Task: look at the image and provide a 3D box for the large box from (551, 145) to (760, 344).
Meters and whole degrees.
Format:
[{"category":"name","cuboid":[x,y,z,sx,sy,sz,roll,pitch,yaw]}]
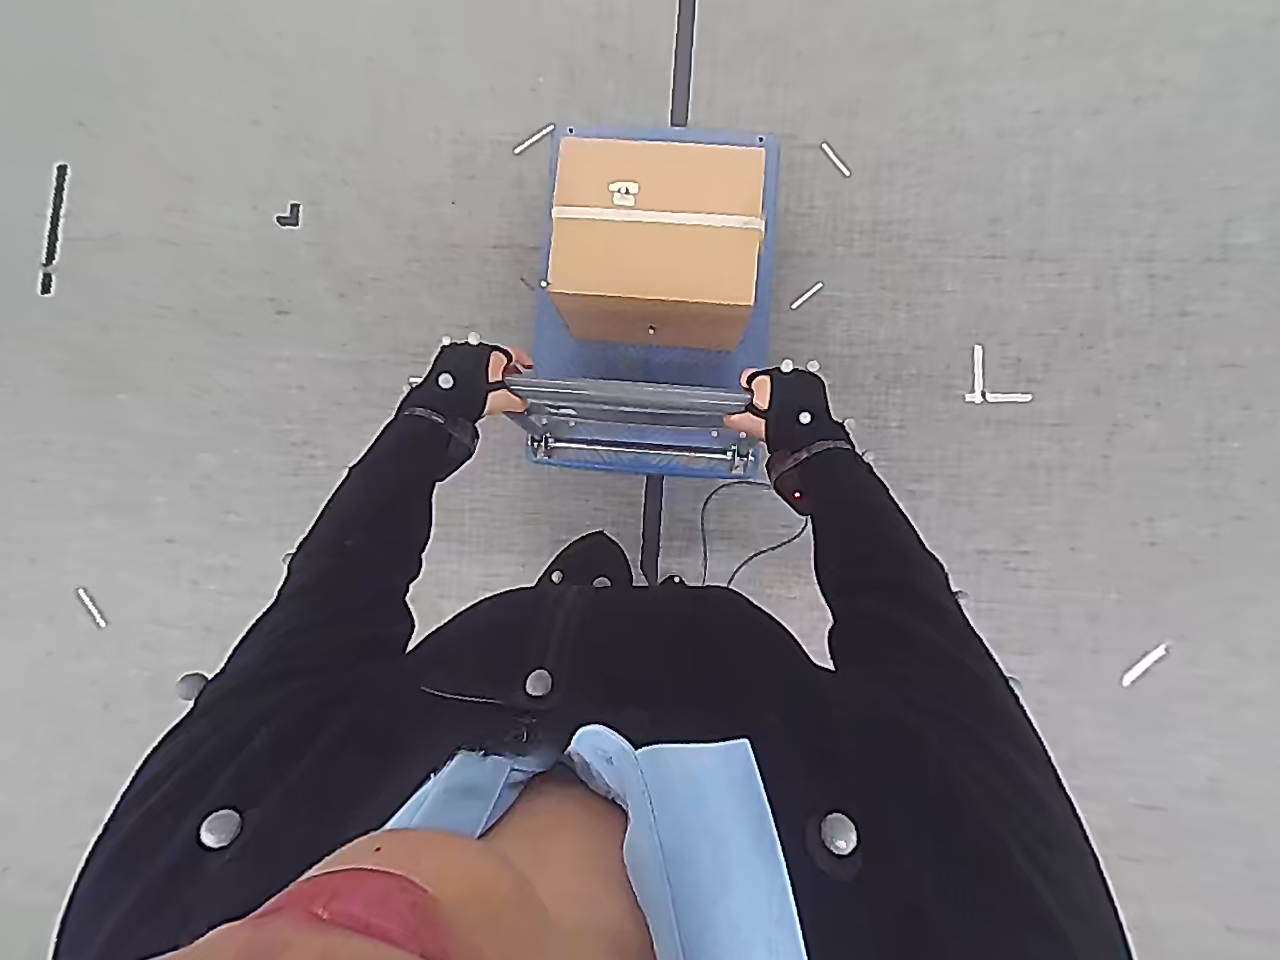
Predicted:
[{"category":"large box","cuboid":[0.040,-0.504,1.216,0.408,0.320,0.320,5,87,4]}]
